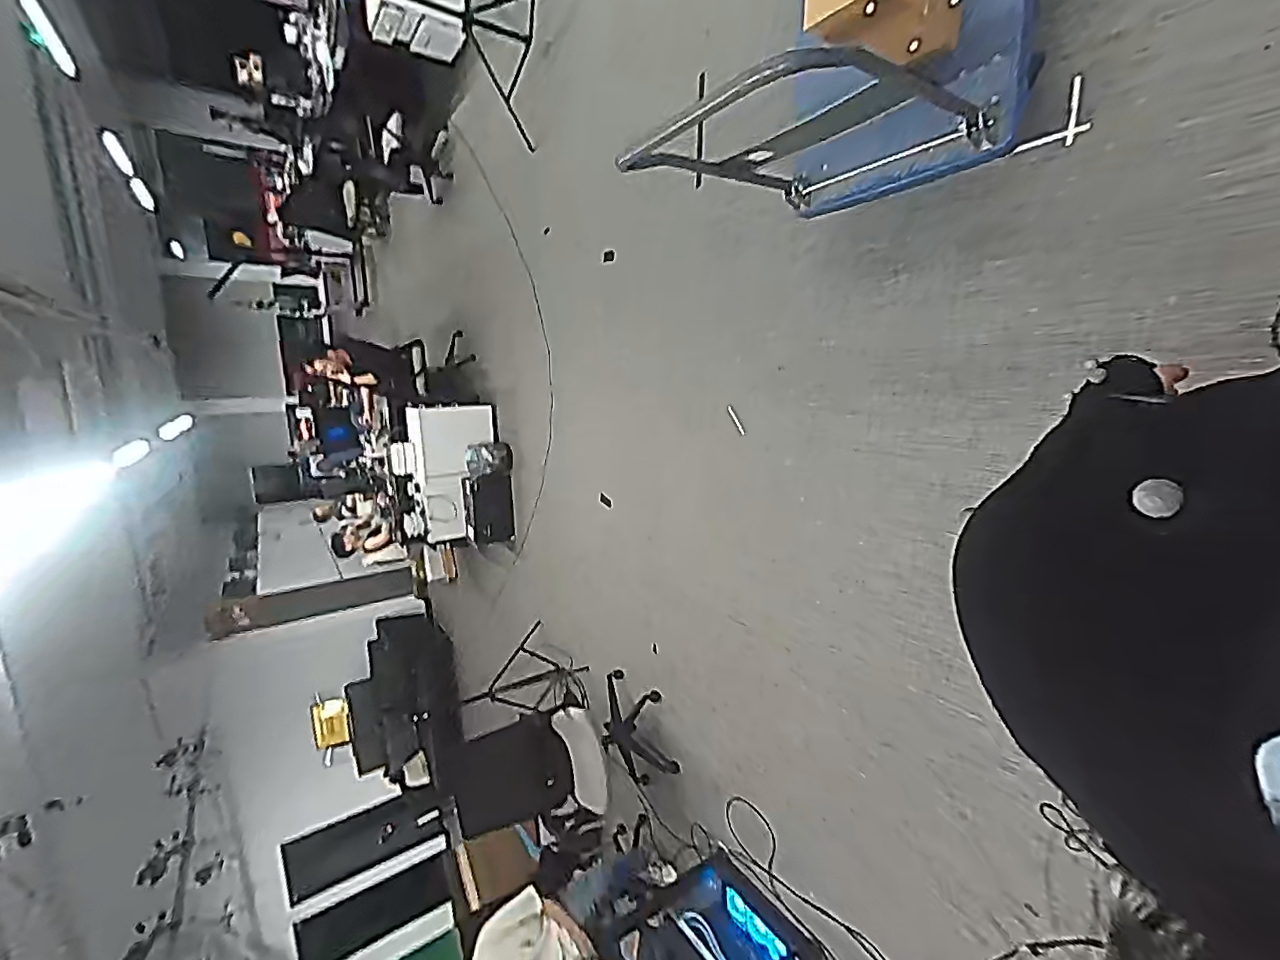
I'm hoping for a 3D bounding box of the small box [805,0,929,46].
[{"bbox_3d":[0.458,-1.018,1.081,0.179,0.176,0.168,15,110,52],"label":"small box"}]
